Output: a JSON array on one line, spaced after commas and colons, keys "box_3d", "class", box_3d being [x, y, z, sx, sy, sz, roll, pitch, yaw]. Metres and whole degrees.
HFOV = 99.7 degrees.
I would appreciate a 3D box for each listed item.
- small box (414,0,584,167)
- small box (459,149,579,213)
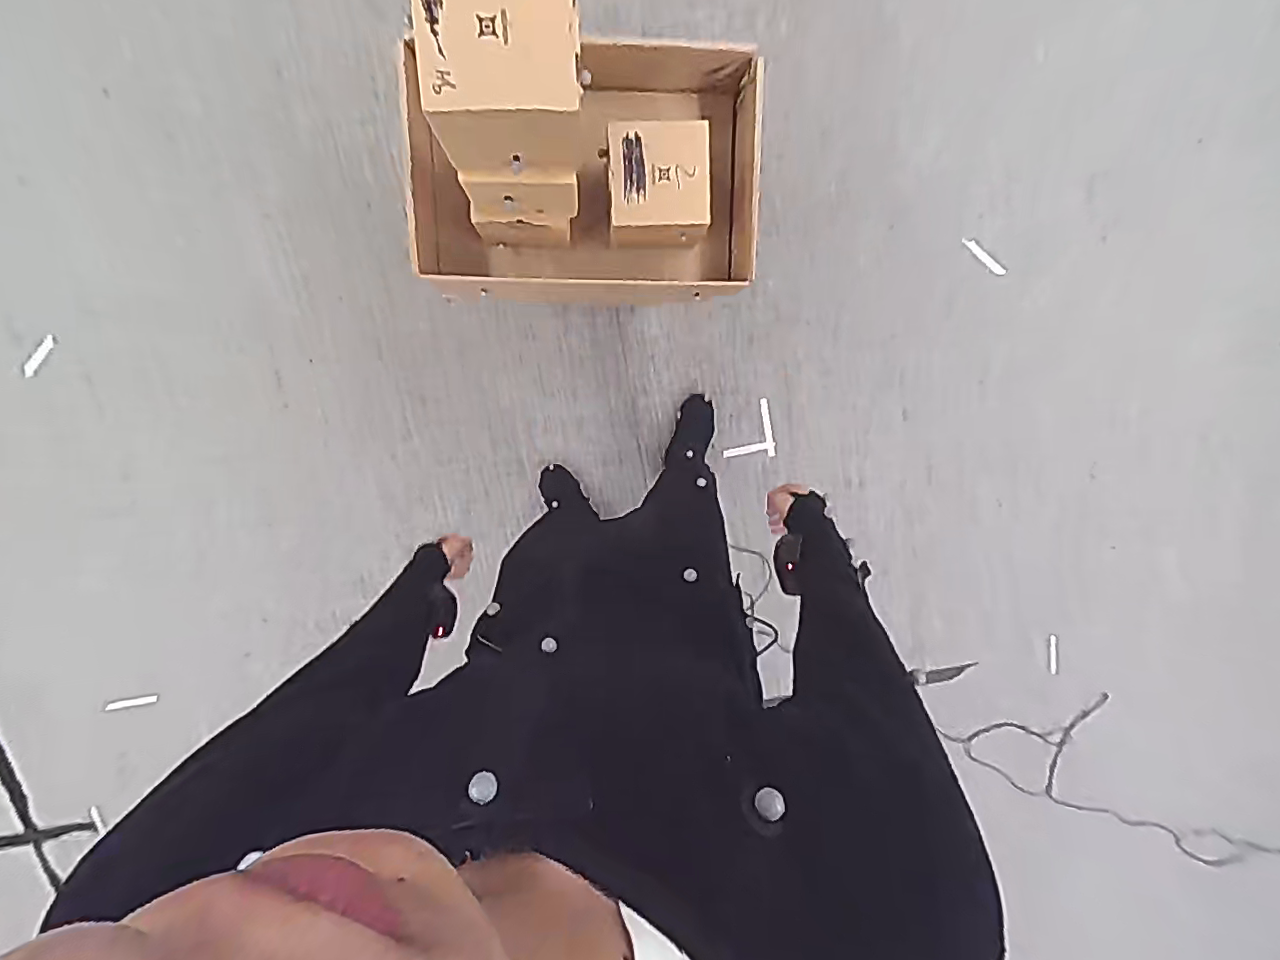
[{"box_3d": [-0.162, -0.504, 0.661, 0.179, 0.176, 0.168, -3, 99, -6], "class": "small box"}, {"box_3d": [-0.179, -0.522, 0.824, 0.168, 0.176, 0.179, -2, 100, -6], "class": "small box"}]
